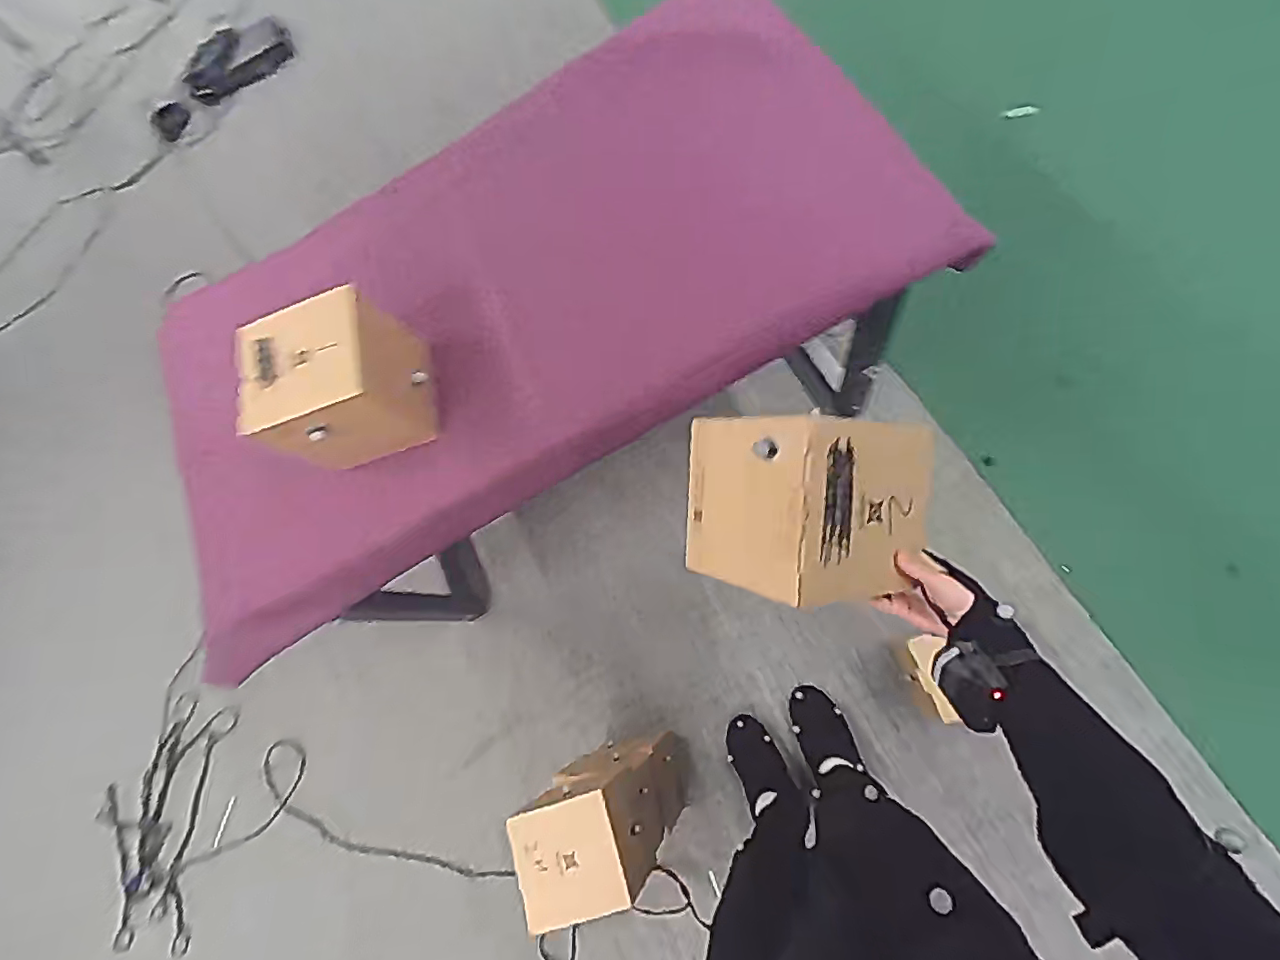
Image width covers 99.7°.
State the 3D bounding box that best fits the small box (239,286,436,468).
[{"bbox_3d":[-0.418,-0.131,0.760,0.179,0.176,0.168,-17,72,9],"label":"small box"}]

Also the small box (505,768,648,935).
[{"bbox_3d":[-0.096,0.610,0.911,0.179,0.176,0.168,-22,70,9],"label":"small box"}]

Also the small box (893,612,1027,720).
[{"bbox_3d":[0.649,0.383,1.129,0.179,0.176,0.168,-21,72,9],"label":"small box"}]

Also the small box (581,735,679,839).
[{"bbox_3d":[-0.018,0.688,1.219,0.168,0.176,0.179,-15,73,11],"label":"small box"}]
